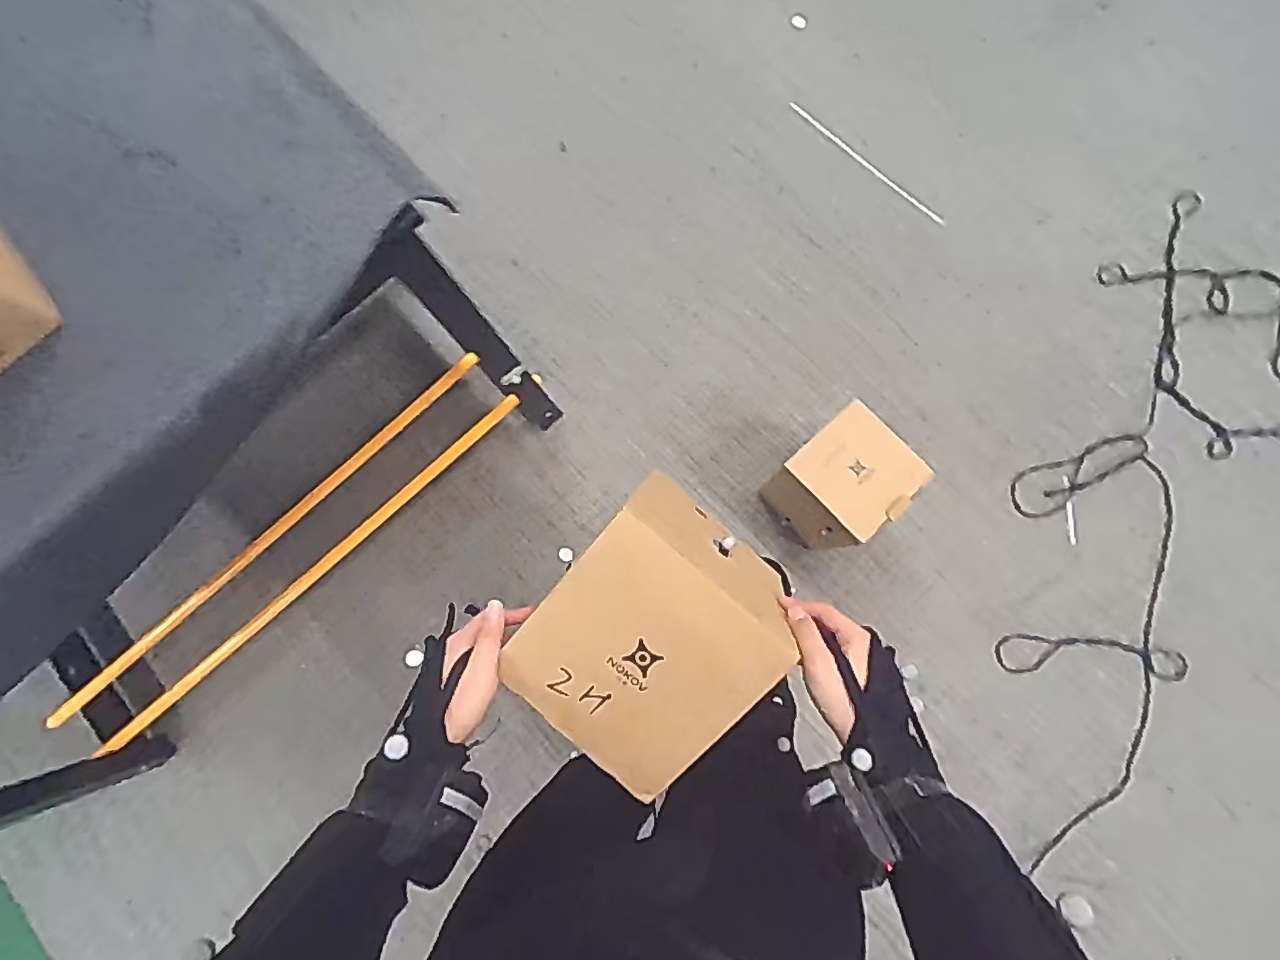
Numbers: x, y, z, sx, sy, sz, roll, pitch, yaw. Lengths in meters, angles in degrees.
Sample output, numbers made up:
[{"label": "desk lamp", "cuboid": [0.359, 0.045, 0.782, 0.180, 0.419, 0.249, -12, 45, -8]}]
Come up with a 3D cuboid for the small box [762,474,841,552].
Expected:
[{"label": "small box", "cuboid": [0.373, 0.027, 1.092, 0.168, 0.176, 0.179, -39, 82, -4]}]

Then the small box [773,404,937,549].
[{"label": "small box", "cuboid": [0.356, 0.003, 0.933, 0.168, 0.176, 0.179, -42, 79, -4]}]
